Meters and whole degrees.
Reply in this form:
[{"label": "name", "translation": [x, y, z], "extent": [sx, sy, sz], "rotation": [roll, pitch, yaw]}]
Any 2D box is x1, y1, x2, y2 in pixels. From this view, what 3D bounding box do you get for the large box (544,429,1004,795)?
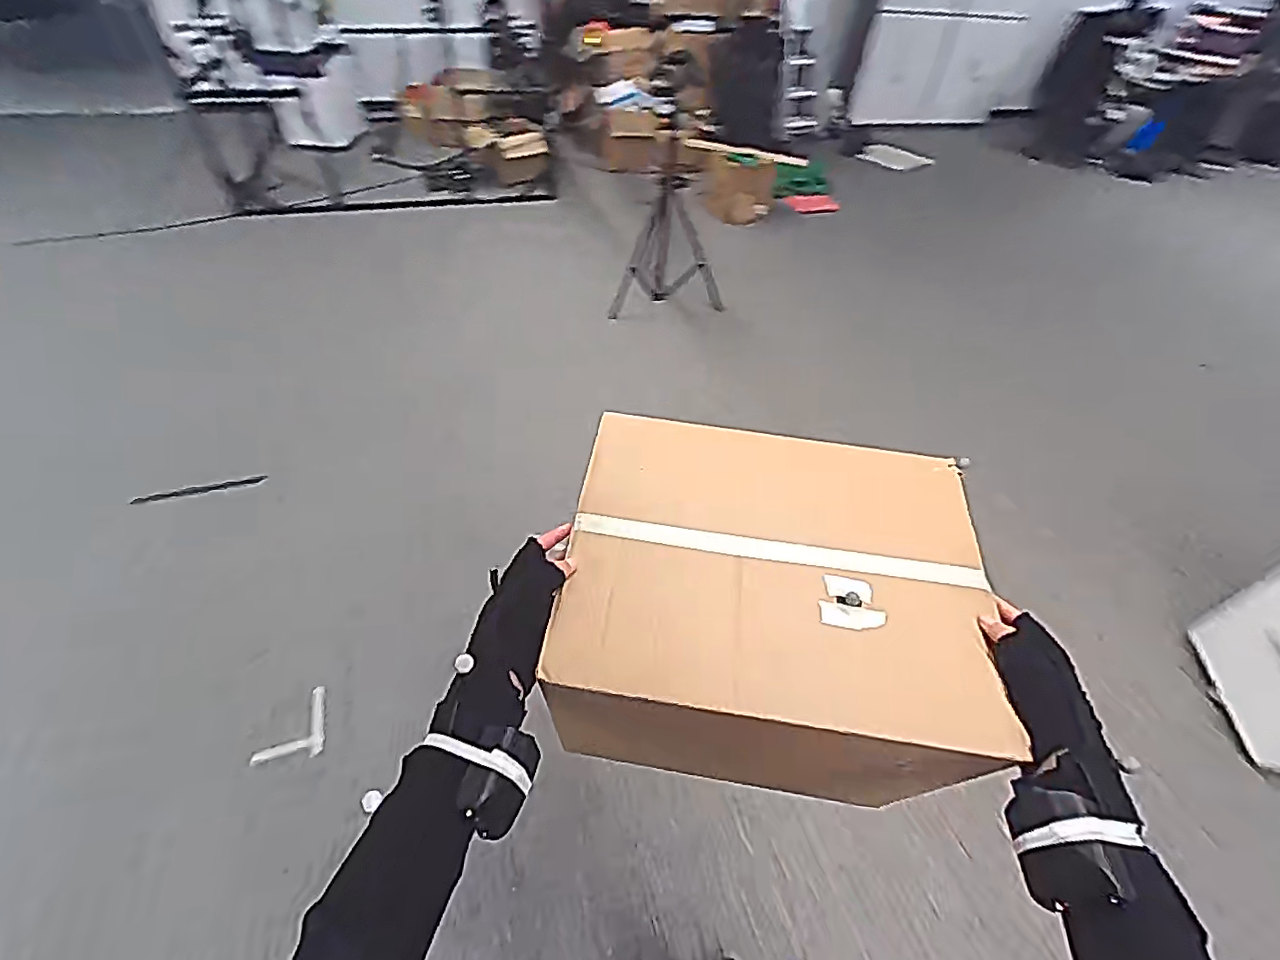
[{"label": "large box", "translation": [0.120, 0.170, 0.666], "extent": [0.408, 0.320, 0.320], "rotation": [7, 54, 2]}]
